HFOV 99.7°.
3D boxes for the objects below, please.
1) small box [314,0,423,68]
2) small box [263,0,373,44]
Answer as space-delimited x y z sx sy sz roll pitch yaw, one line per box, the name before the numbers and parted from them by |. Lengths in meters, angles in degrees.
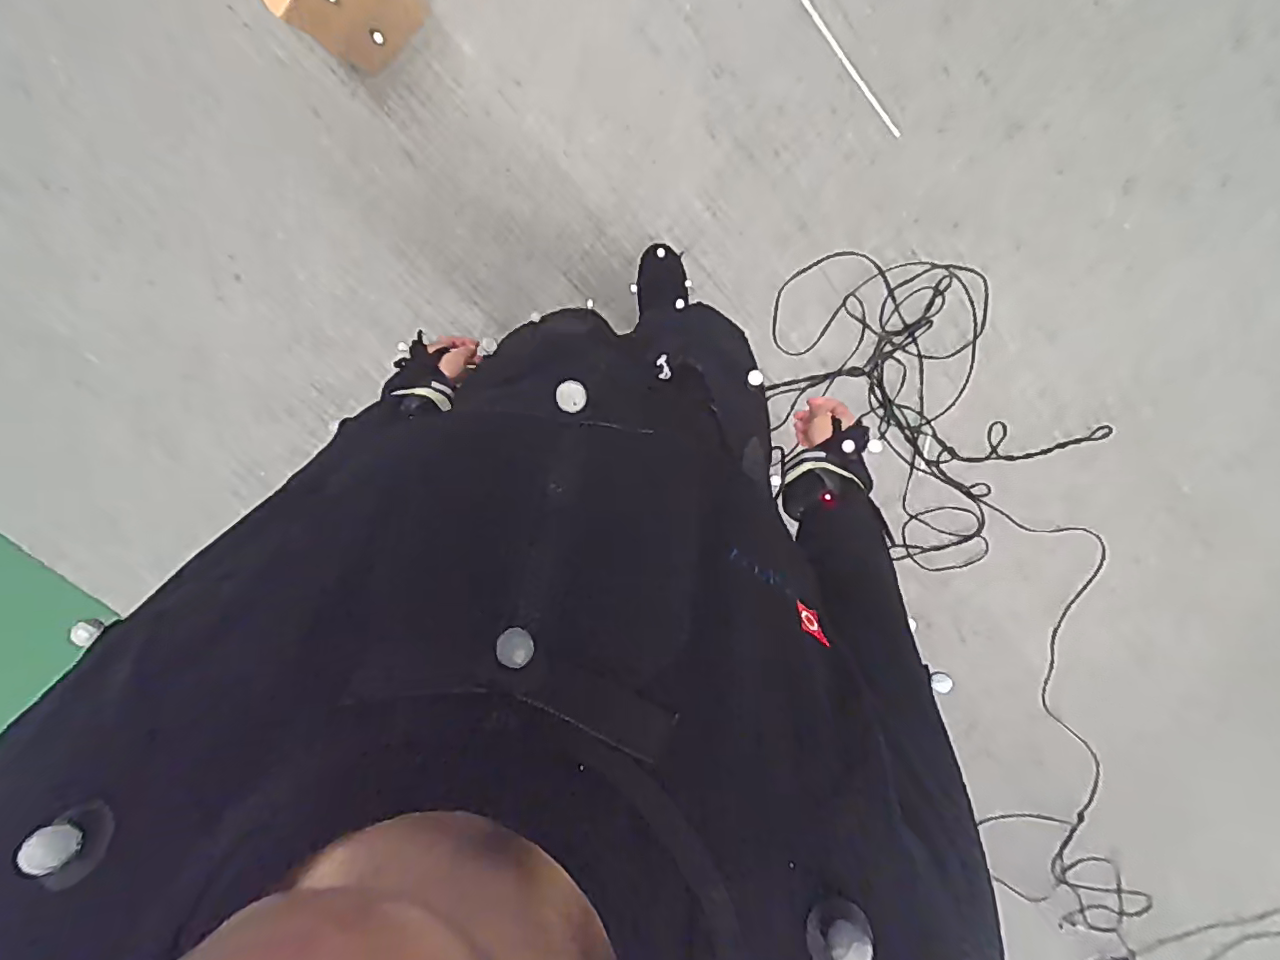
small box | -0.532 -0.902 0.981 0.179 0.176 0.168 -36 107 19
small box | -0.524 -0.834 0.831 0.179 0.176 0.168 -36 108 18
